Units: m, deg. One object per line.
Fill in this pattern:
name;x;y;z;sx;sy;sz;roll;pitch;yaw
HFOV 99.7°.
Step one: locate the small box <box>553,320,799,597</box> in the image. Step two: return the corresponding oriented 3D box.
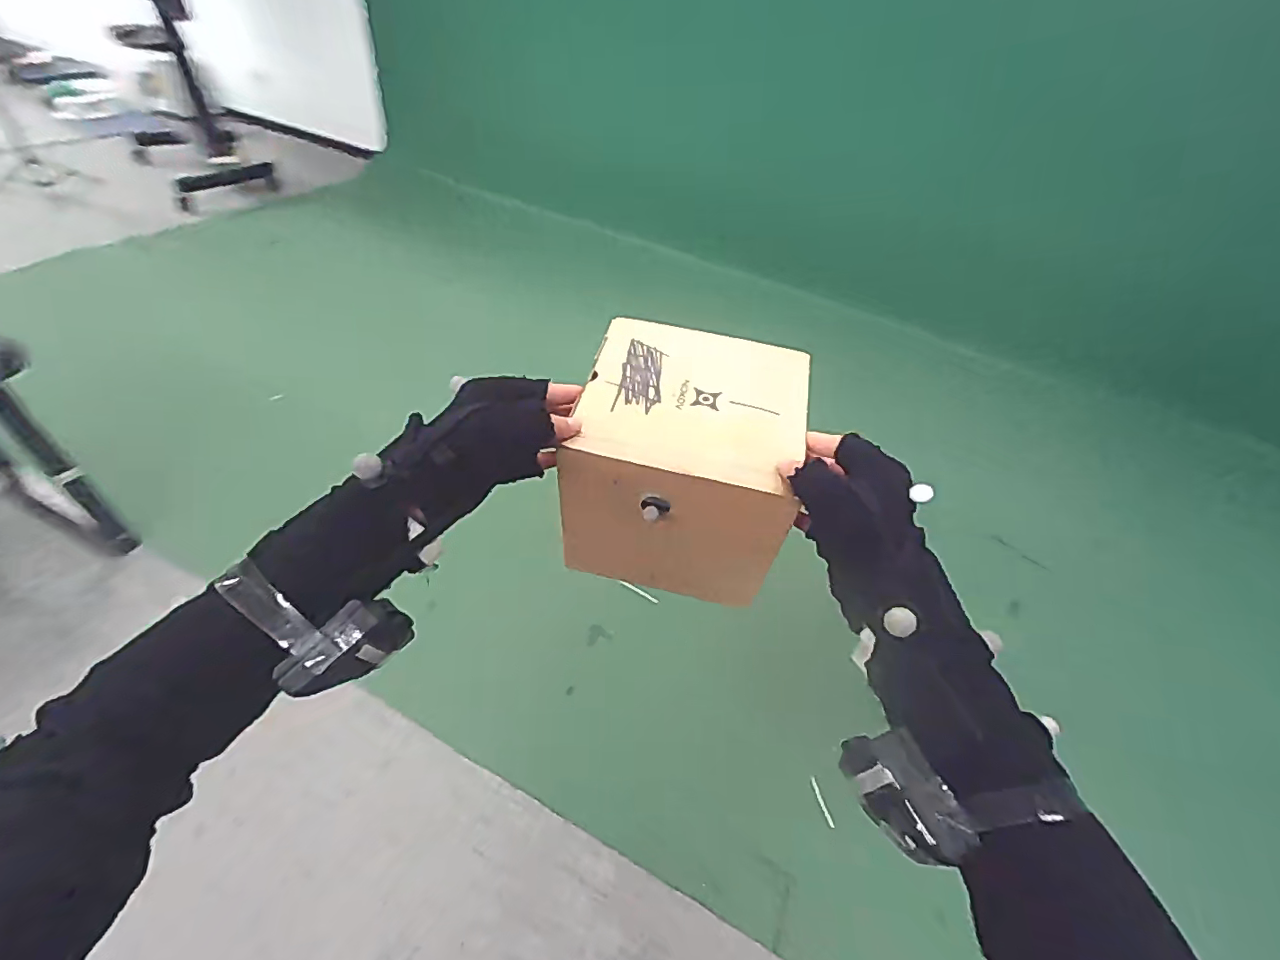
small box;0.032;-0.015;0.489;0.179;0.176;0.168;12;51;4
